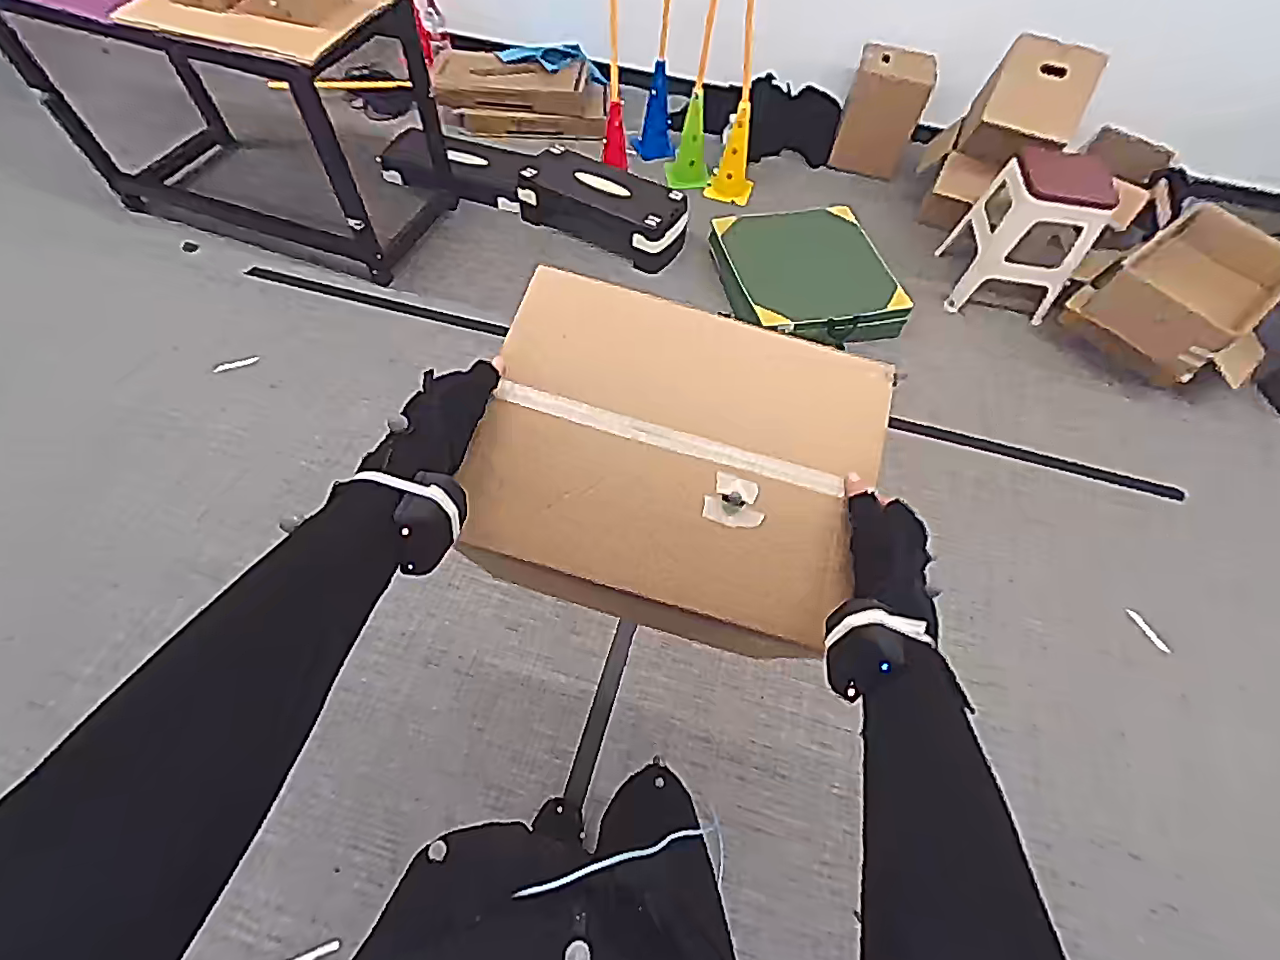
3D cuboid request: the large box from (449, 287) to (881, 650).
[{"bbox_3d":[0.030,0.015,0.704,0.408,0.320,0.320,17,73,0],"label":"large box"}]
